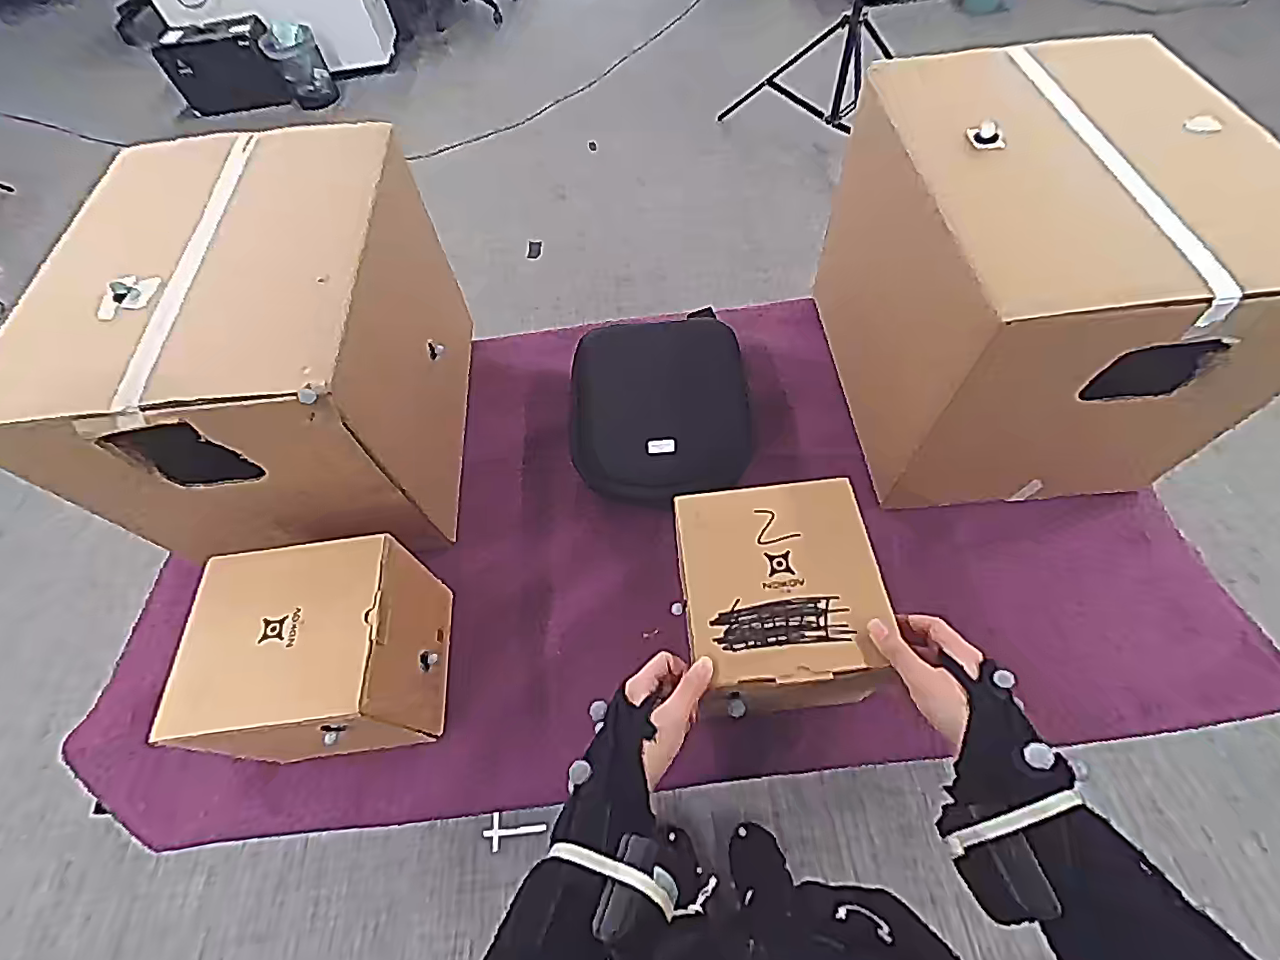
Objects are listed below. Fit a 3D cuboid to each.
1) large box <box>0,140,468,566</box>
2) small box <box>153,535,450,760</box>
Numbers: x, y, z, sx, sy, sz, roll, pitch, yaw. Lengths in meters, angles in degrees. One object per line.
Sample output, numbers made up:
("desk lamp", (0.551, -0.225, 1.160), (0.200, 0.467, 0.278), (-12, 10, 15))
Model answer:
("large box", (-0.411, -0.138, 0.662), (0.320, 0.320, 0.408), (-7, 61, -1))
("small box", (-0.314, 0.176, 0.548), (0.179, 0.176, 0.168), (-8, 58, -1))
